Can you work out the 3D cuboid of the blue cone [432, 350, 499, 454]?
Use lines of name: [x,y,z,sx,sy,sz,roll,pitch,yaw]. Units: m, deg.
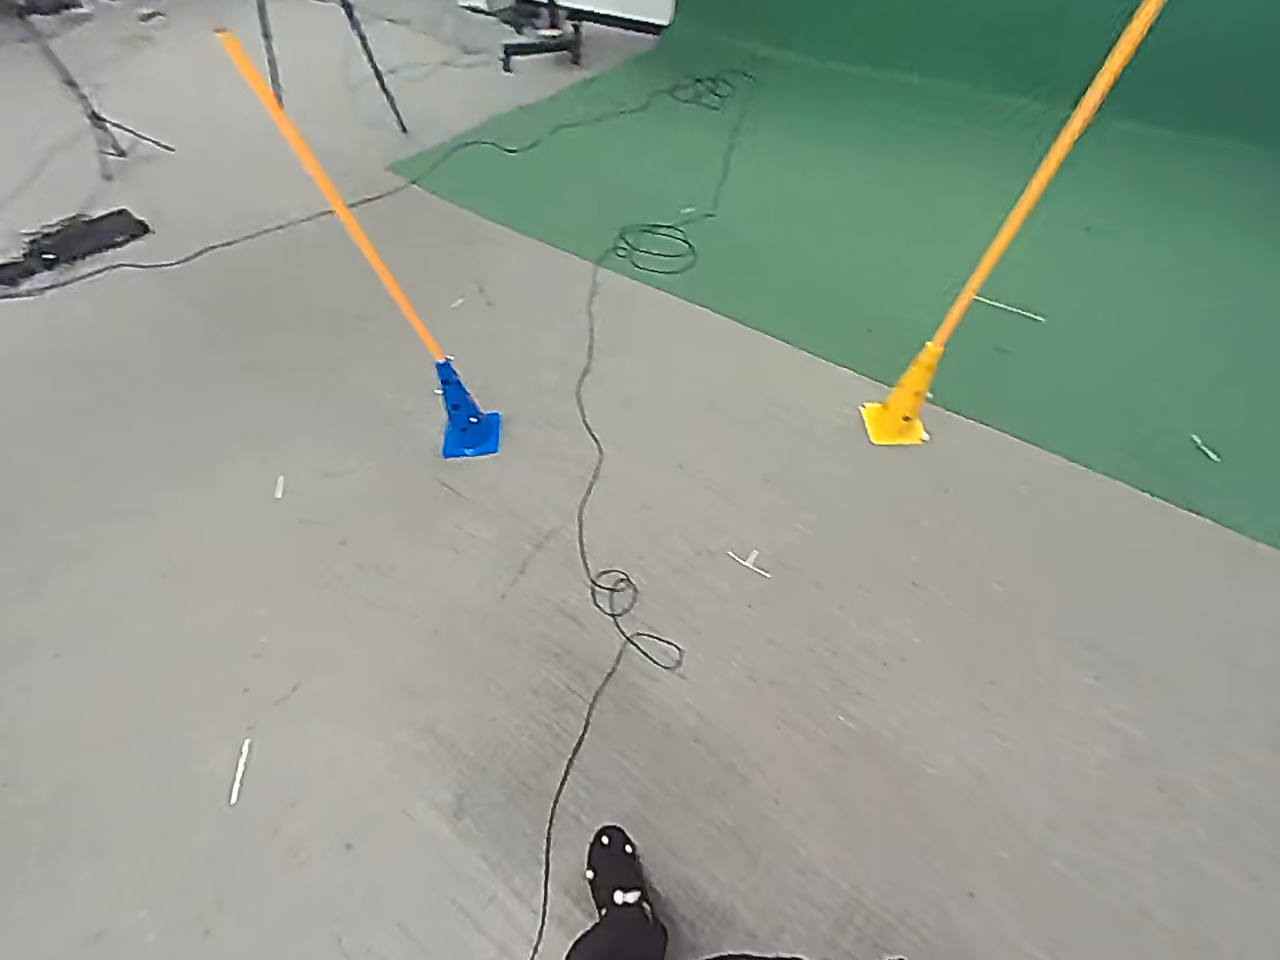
blue cone: [-0.605,-0.268,1.789,0.193,0.380,0.192,-8,55,-3]
